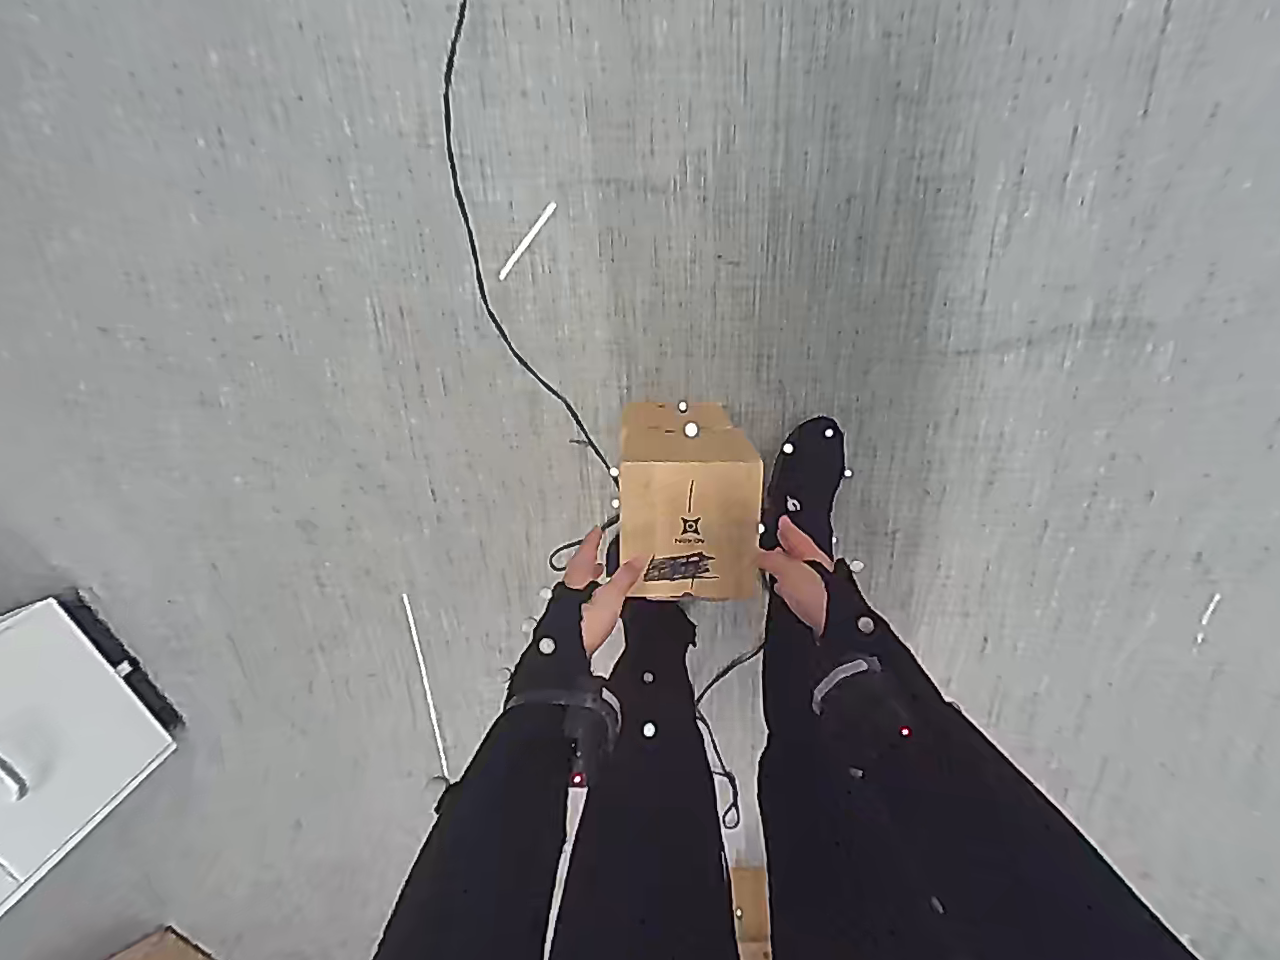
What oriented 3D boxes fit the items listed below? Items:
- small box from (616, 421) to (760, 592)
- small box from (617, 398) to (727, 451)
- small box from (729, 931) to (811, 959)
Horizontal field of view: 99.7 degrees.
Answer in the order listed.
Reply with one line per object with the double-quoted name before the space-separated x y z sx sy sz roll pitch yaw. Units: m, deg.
"small box" 0.057 0.028 0.712 0.168 0.176 0.179 1 109 2
"small box" 0.053 -0.028 0.868 0.168 0.176 0.179 0 109 2
"small box" 0.272 1.062 1.093 0.168 0.176 0.179 -3 109 3
